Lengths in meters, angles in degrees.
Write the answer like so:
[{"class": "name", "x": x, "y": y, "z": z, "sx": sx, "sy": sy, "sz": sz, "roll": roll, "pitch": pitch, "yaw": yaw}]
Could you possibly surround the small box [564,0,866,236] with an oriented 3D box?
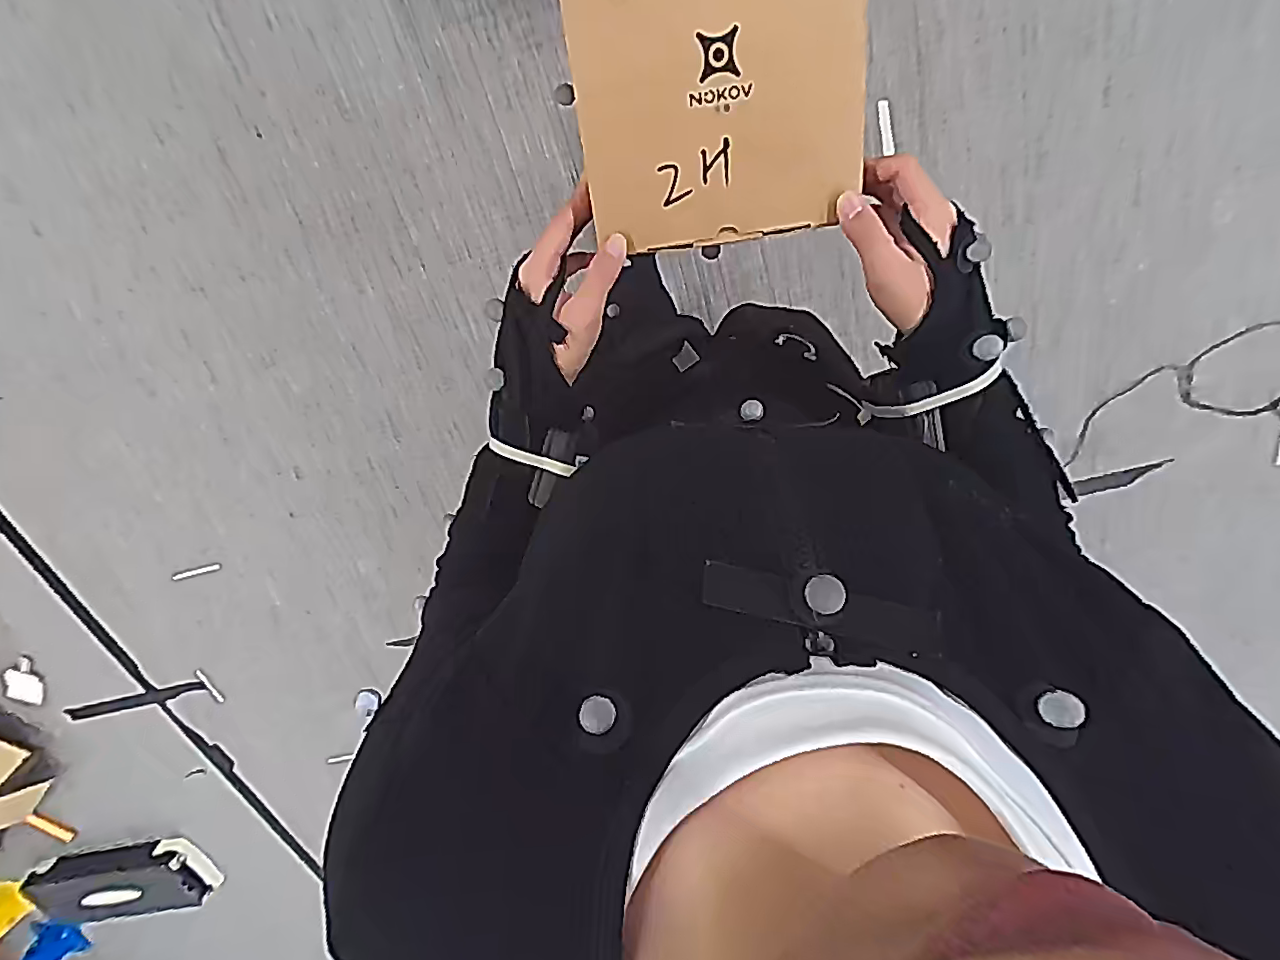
[{"class": "small box", "x": 0.044, "y": -0.272, "z": 0.373, "sx": 0.168, "sy": 0.176, "sz": 0.179, "roll": -6, "pitch": 114, "yaw": 5}]
